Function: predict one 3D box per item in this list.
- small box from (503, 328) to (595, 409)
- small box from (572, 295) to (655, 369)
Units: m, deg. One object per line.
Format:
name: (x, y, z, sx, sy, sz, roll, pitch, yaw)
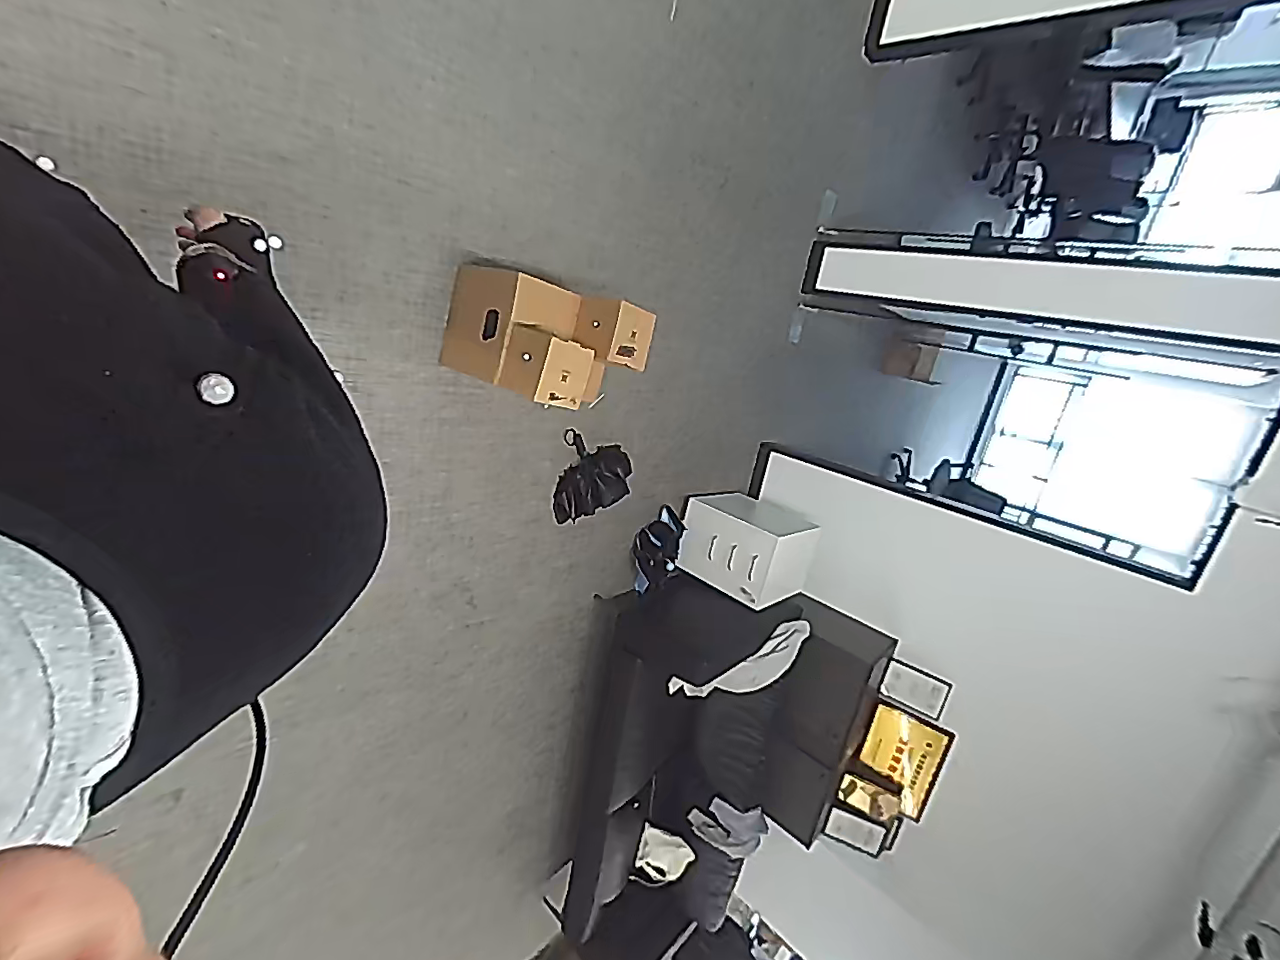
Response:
small box: (-0.256, -0.309, 1.496, 0.168, 0.176, 0.179, 2, 107, -52)
small box: (-0.085, -0.448, 1.638, 0.168, 0.176, 0.179, 3, 102, -52)
